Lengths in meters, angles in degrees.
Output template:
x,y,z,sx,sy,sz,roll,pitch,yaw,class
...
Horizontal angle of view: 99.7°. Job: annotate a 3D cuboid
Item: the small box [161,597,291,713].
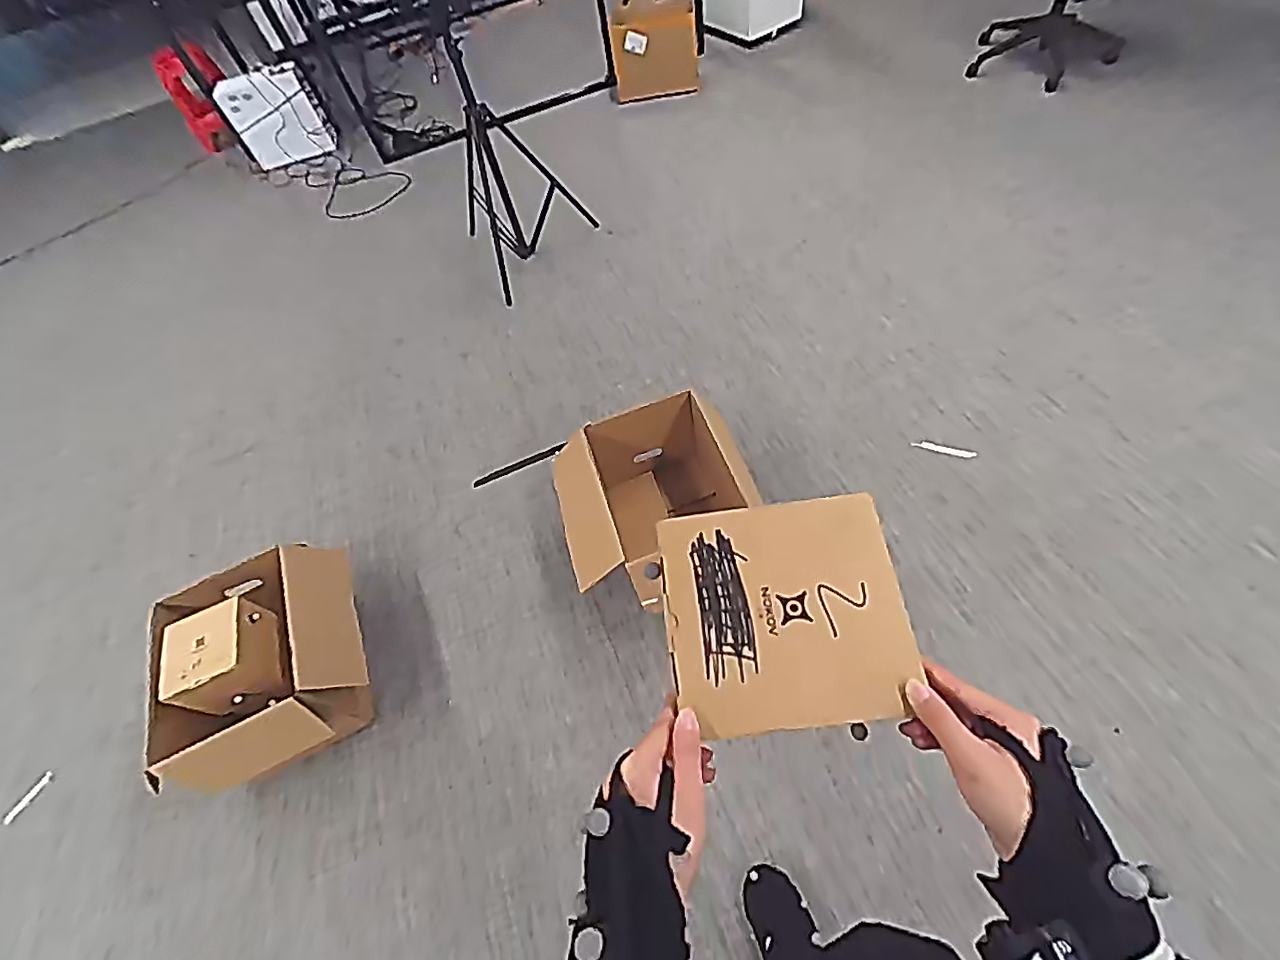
x,y,z,sx,sy,sz,roll,pitch,yaw,class
-0.929,0.402,1.231,0.168,0.176,0.179,-25,57,-6,small box
